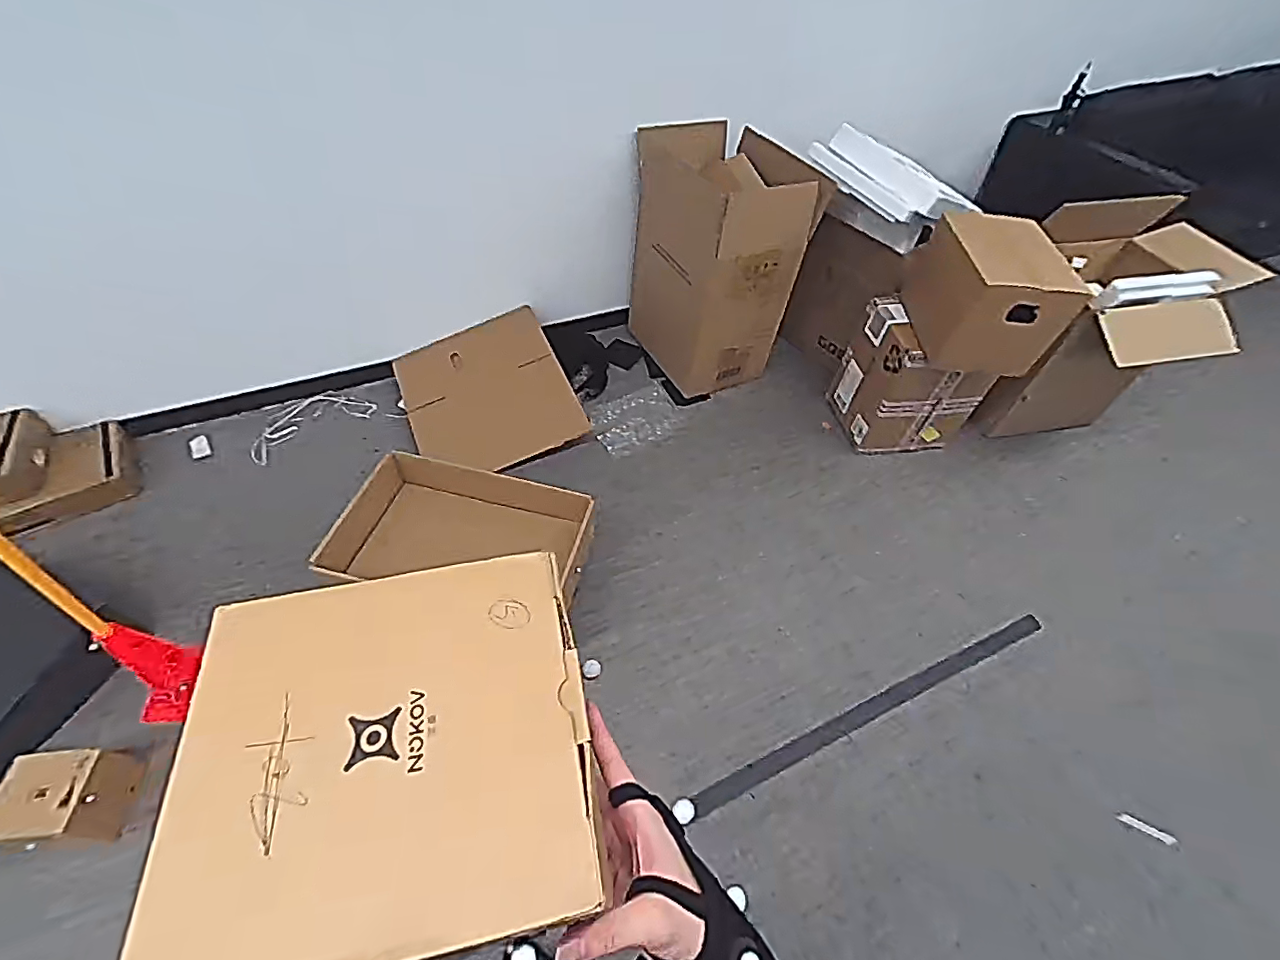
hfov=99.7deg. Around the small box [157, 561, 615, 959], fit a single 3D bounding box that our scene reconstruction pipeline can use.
[{"bbox_3d":[-0.114,0.172,0.317,0.179,0.176,0.168,-10,52,-8],"label":"small box"}]
